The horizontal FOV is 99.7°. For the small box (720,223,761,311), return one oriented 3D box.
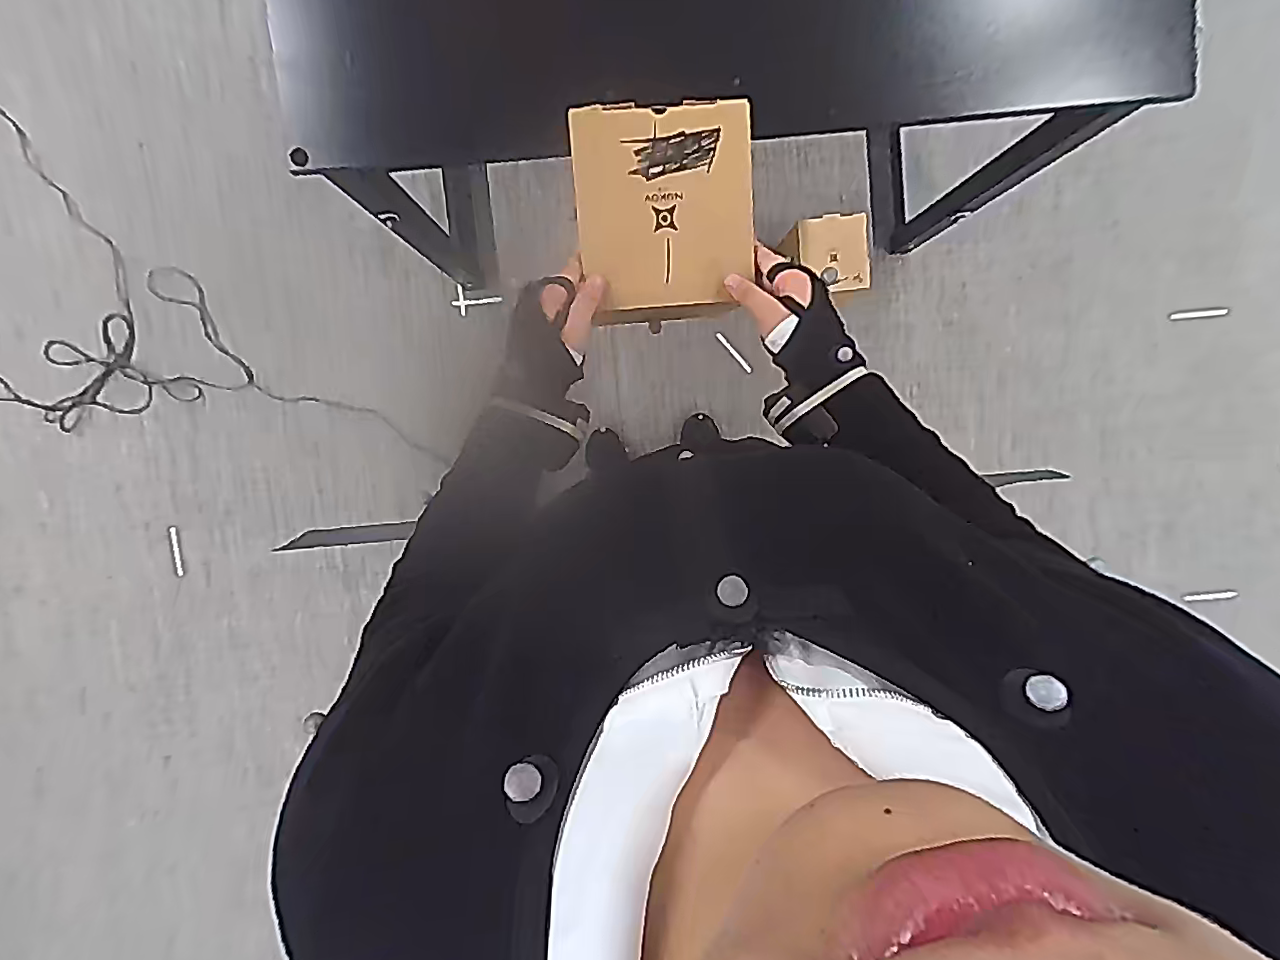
[{"bbox_3d":[0.196,-0.528,1.365,0.179,0.176,0.168,-6,95,1],"label":"small box"}]

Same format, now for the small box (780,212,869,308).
[{"bbox_3d":[0.458,-0.548,1.363,0.168,0.176,0.179,-6,96,1],"label":"small box"}]

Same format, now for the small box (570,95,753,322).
[{"bbox_3d":[0.017,-0.271,0.576,0.168,0.176,0.179,-5,102,-2],"label":"small box"}]
